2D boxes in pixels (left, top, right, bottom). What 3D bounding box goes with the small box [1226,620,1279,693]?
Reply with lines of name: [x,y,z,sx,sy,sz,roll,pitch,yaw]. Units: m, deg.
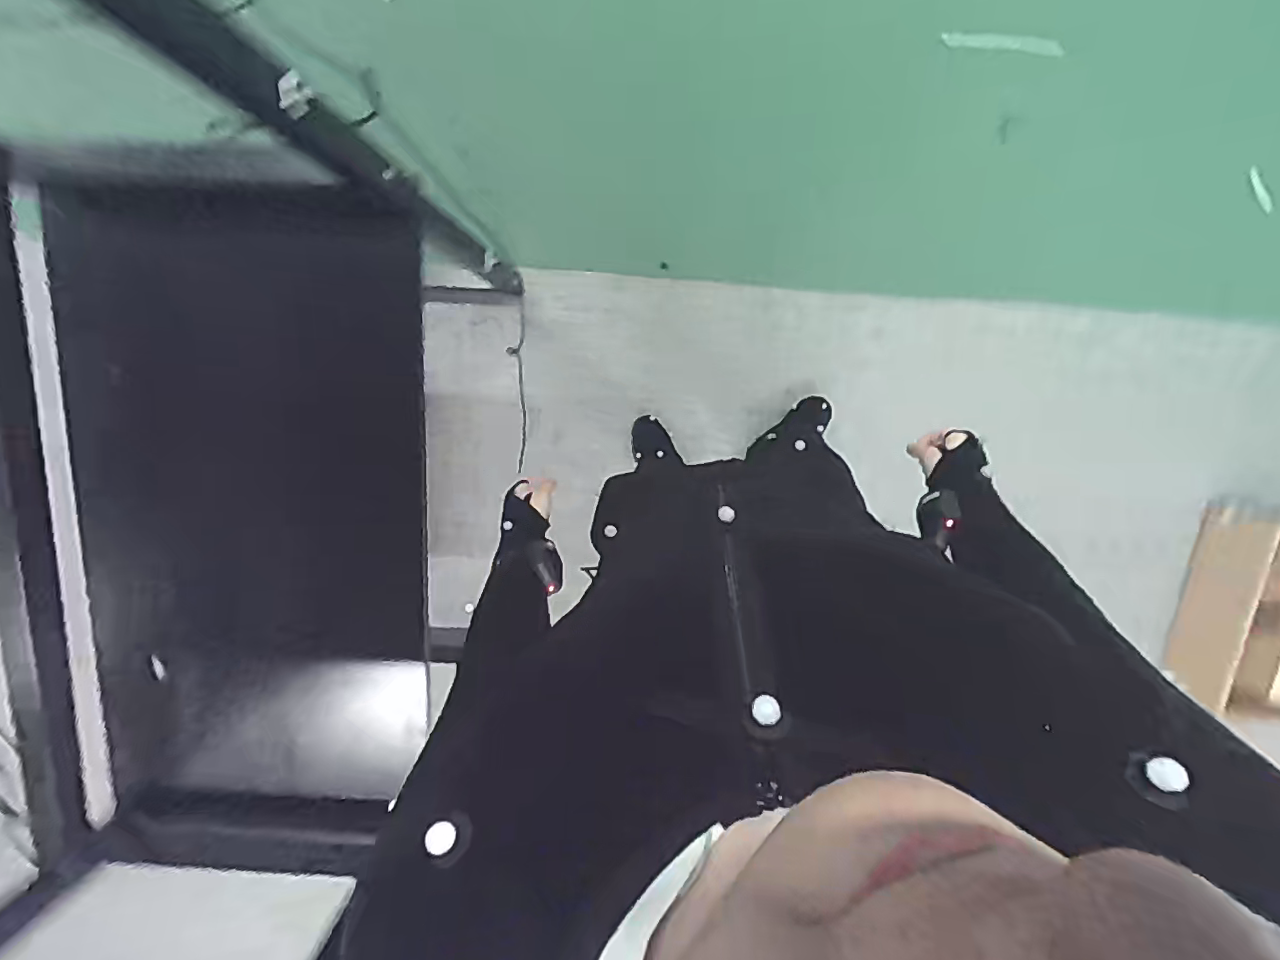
small box: [1.846,0.510,1.534,0.179,0.176,0.168,7,99,0]

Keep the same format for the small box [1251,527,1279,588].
small box: [1.870,0.232,1.490,0.179,0.176,0.168,5,99,-1]
